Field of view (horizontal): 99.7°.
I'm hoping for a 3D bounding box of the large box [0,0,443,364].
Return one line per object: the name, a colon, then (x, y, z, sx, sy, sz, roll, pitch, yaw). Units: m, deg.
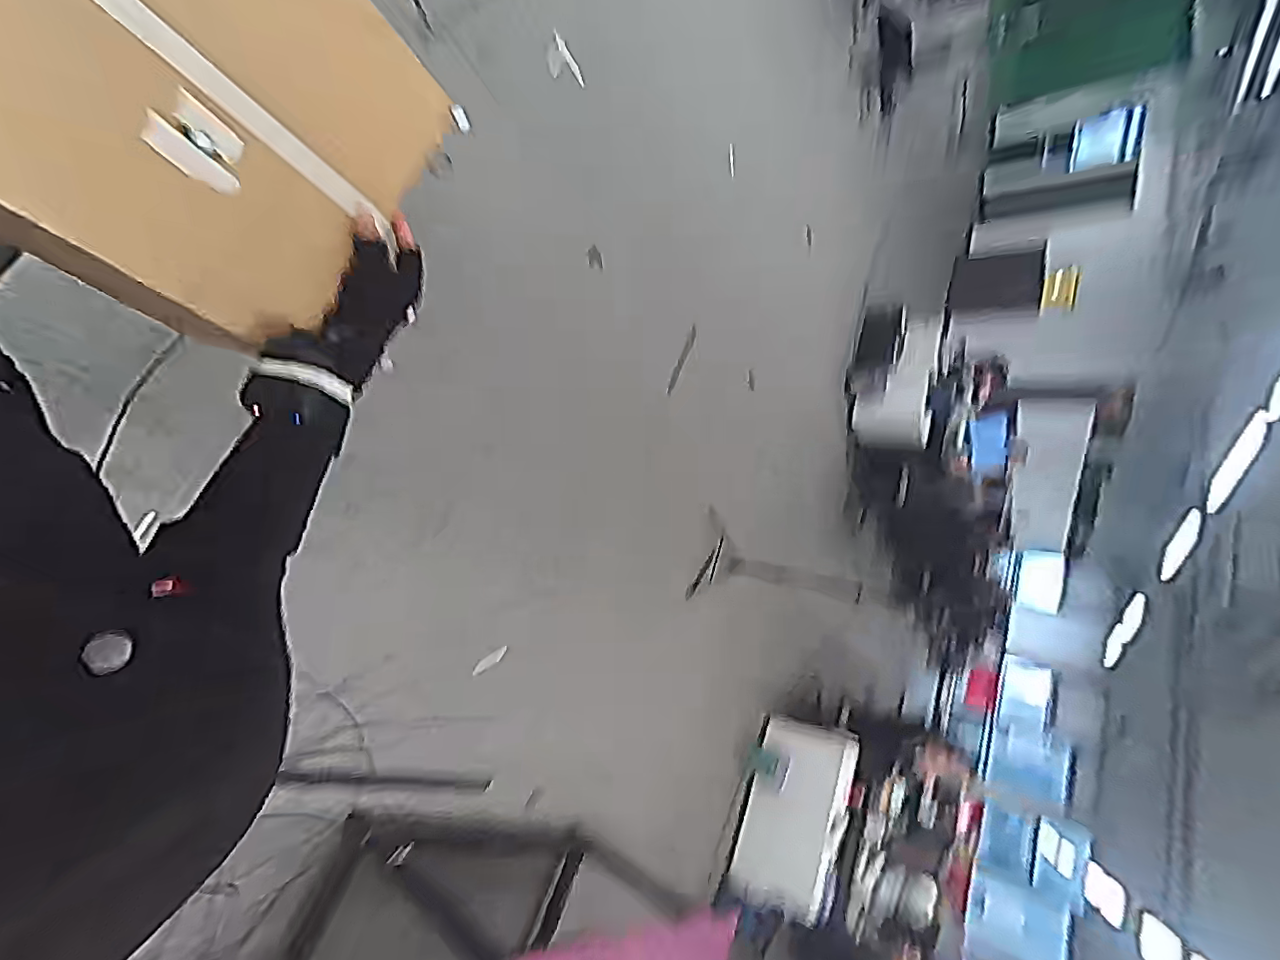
large box: (-0.477, -0.349, 0.467, 0.408, 0.320, 0.320, 39, 72, -52)
